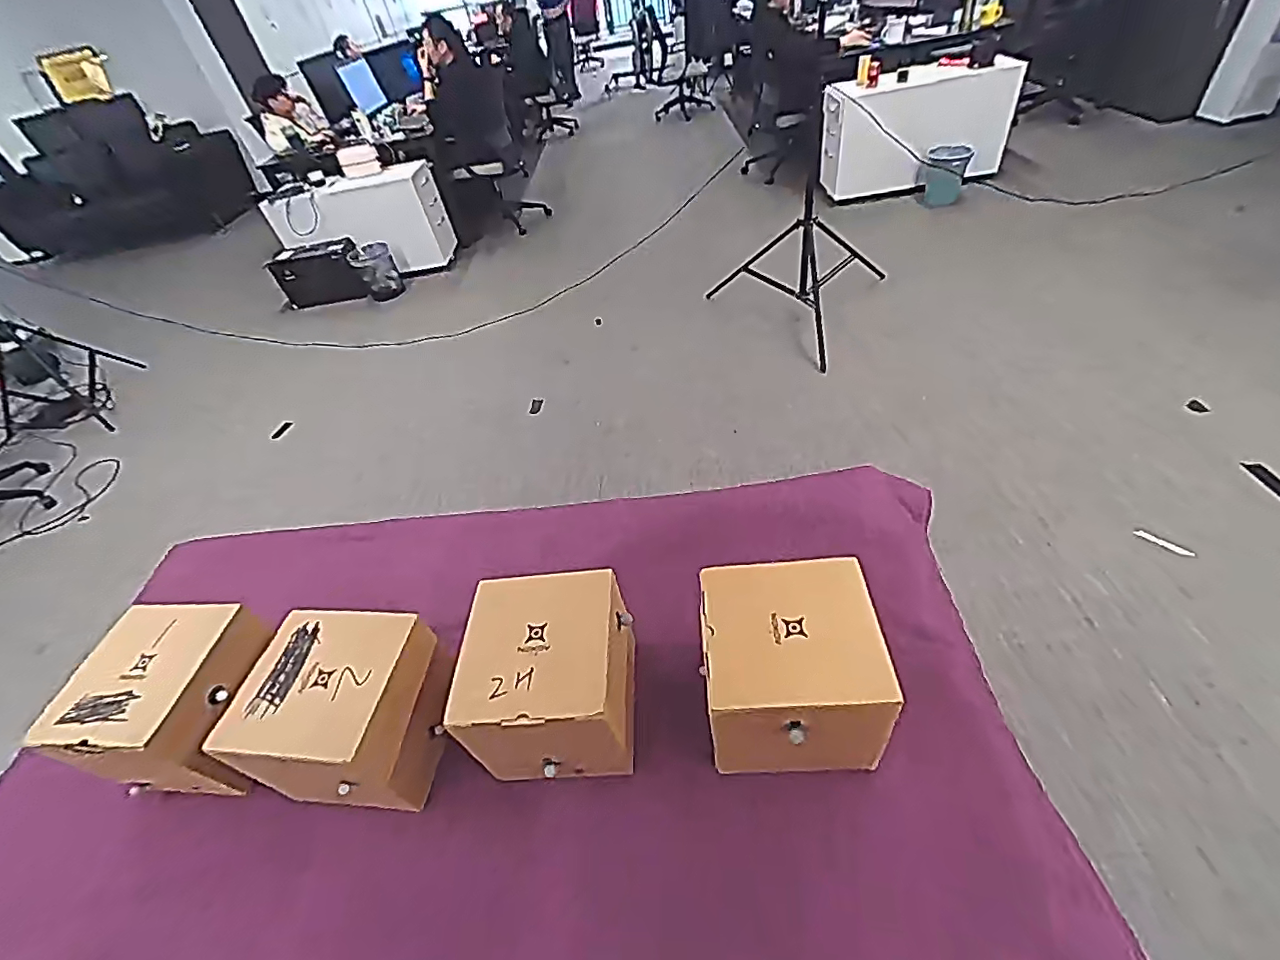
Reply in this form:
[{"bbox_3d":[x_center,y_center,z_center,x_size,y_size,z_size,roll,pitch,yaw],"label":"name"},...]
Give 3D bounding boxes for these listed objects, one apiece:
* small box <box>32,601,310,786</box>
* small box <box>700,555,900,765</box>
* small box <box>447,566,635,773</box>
[{"bbox_3d":[-0.573,0.276,0.696,0.168,0.176,0.179,-2,45,9],"label":"small box"},{"bbox_3d":[0.164,0.204,0.607,0.179,0.176,0.168,-6,43,8],"label":"small box"},{"bbox_3d":[-0.100,0.226,0.644,0.168,0.176,0.179,-6,44,7],"label":"small box"}]
